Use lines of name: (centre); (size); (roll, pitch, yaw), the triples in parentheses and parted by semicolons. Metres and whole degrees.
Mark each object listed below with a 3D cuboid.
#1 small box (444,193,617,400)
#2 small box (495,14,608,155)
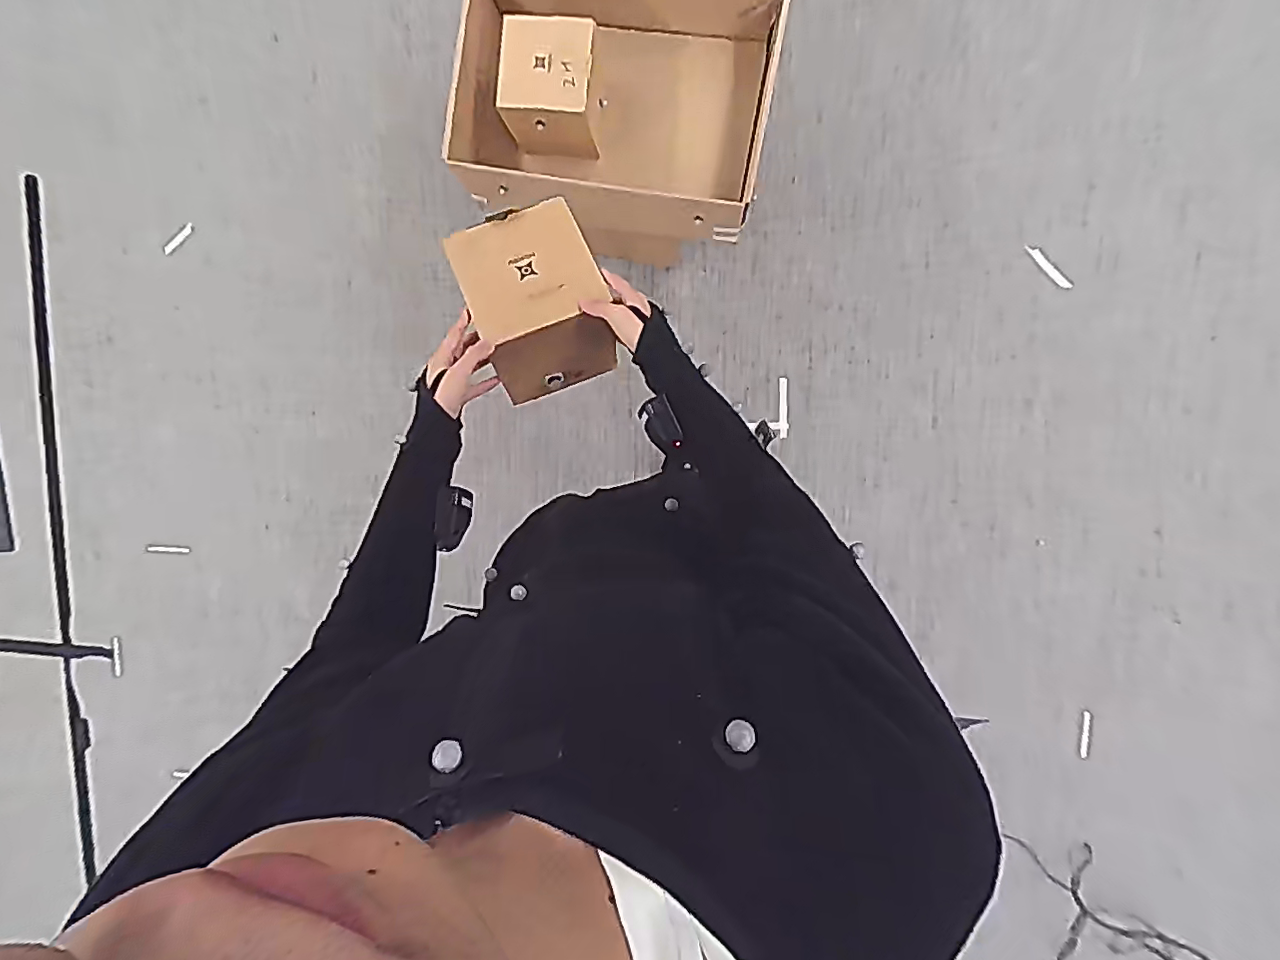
small box: (-0.138, -0.238, 0.733); (0.168, 0.176, 0.179); (-23, 74, -7)
small box: (-0.170, -0.778, 1.081); (0.179, 0.176, 0.168); (8, 96, 5)
